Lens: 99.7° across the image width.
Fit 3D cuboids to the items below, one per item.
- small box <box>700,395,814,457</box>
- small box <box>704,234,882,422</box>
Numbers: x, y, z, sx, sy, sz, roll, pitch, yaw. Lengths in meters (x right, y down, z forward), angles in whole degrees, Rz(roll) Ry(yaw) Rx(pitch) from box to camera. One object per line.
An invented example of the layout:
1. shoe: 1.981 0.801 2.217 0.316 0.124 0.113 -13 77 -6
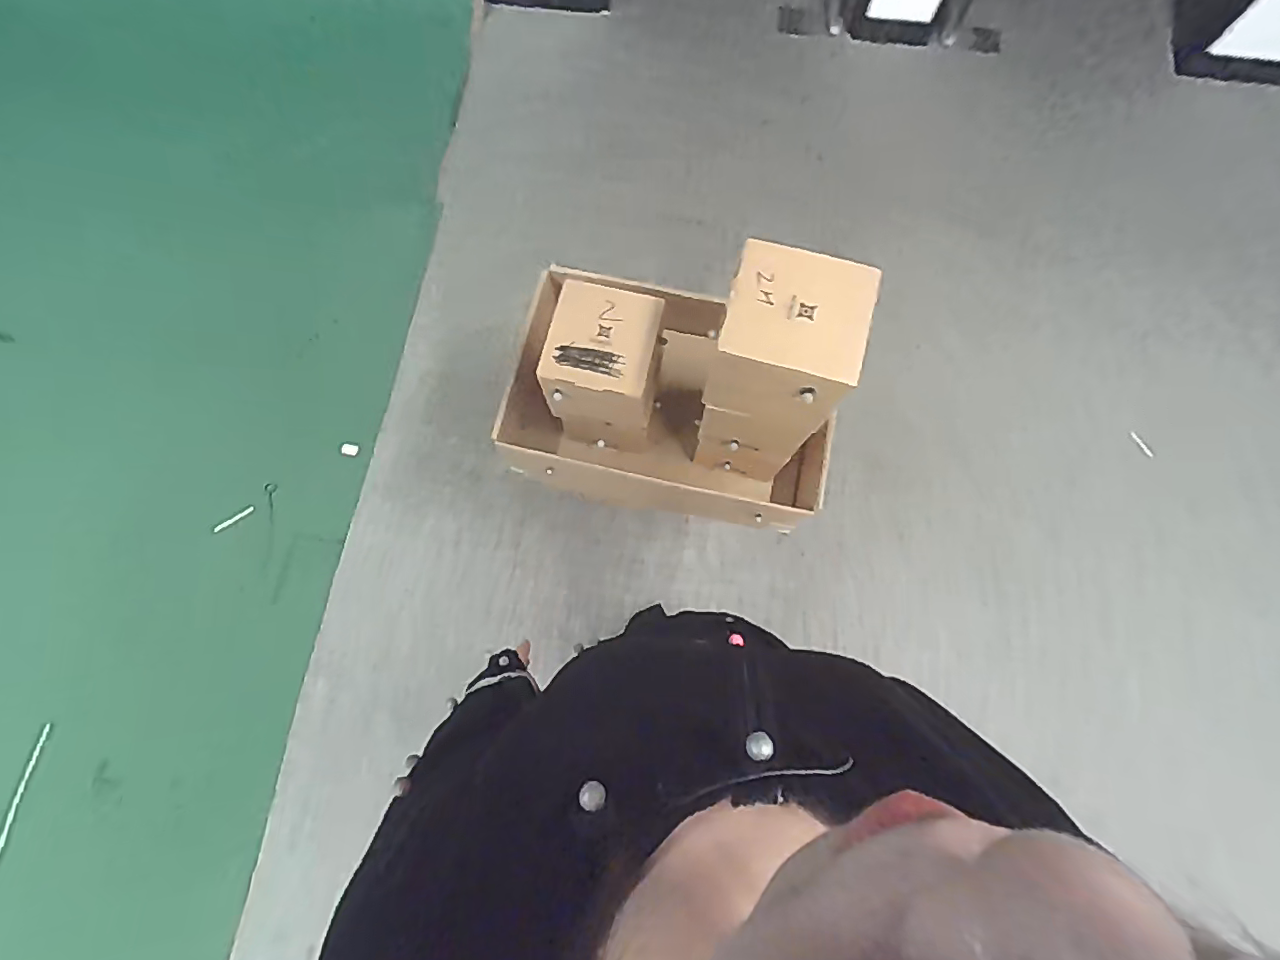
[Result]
1. small box: 0.200 -0.158 0.897 0.168 0.176 0.179 15 78 5
2. small box: 0.196 -0.193 0.736 0.179 0.176 0.168 16 77 6
